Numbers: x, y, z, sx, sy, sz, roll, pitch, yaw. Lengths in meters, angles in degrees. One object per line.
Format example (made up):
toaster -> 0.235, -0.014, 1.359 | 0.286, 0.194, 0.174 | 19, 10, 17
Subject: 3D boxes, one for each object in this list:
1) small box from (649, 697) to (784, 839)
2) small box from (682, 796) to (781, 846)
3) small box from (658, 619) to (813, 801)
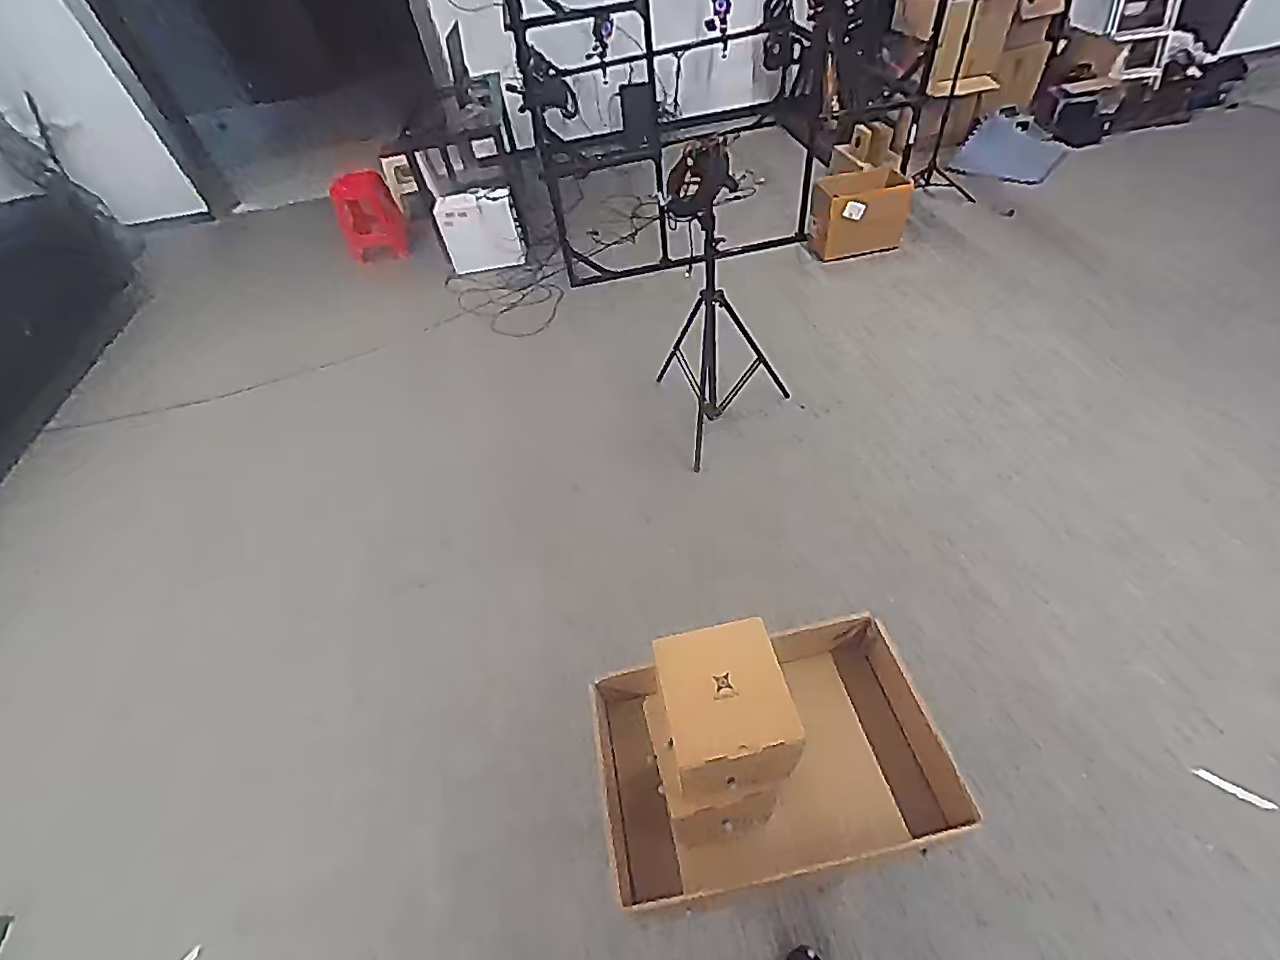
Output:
small box -> 0.117, 0.456, 0.887 | 0.168, 0.176, 0.179 | -14, 48, -6
small box -> 0.142, 0.558, 1.014 | 0.179, 0.176, 0.168 | -16, 48, -7
small box -> 0.125, 0.331, 0.778 | 0.168, 0.176, 0.179 | -12, 48, -4
